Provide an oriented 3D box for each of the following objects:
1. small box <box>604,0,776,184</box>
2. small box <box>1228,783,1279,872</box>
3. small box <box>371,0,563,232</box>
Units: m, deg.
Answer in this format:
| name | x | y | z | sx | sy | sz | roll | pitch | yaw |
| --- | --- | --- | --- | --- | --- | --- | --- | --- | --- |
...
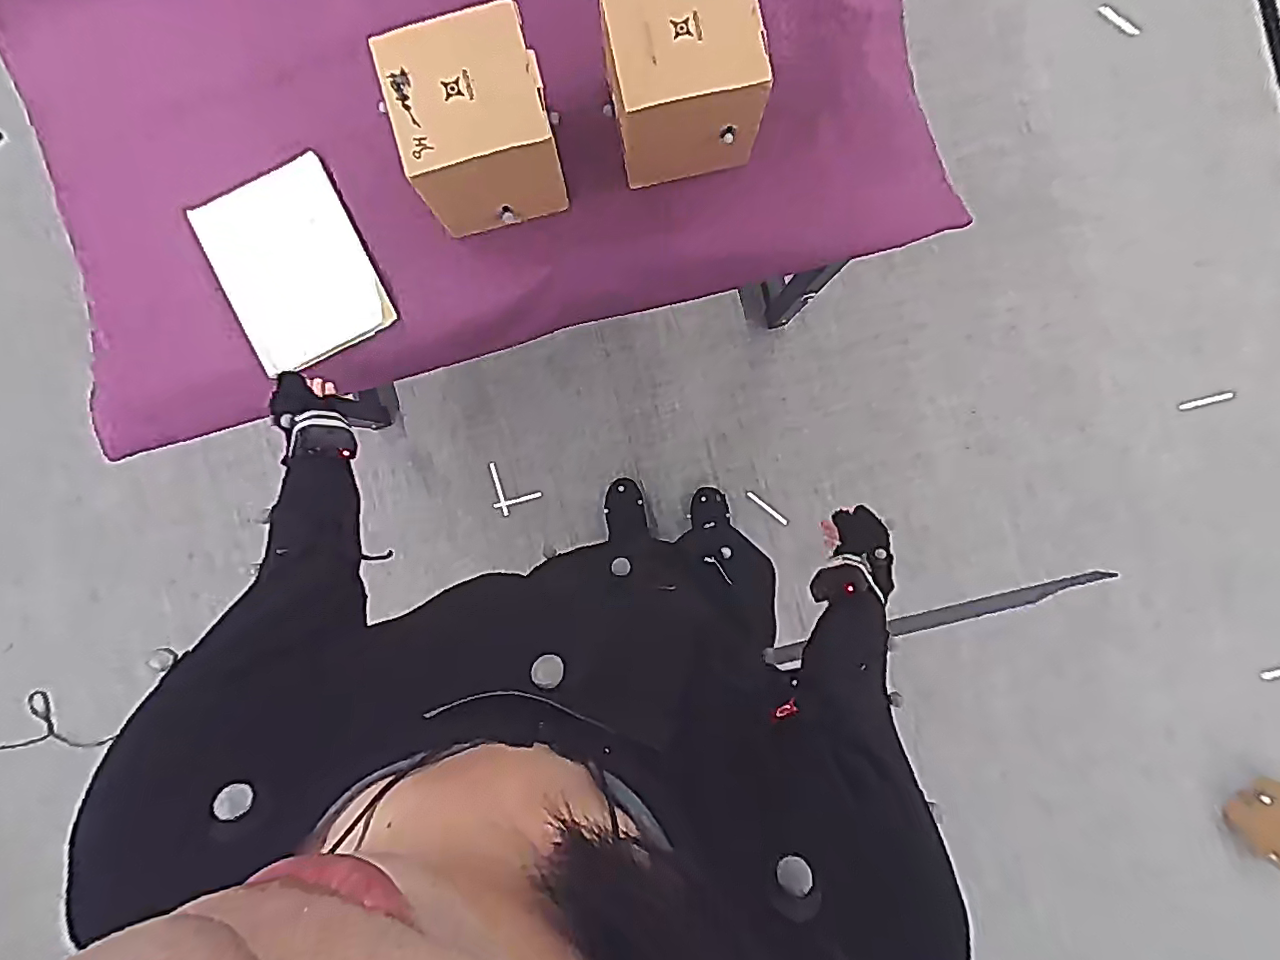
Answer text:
| name | x | y | z | sx | sy | sz | roll | pitch | yaw |
| --- | --- | --- | --- | --- | --- | --- | --- | --- | --- |
| small box | 0.055 | -0.515 | 0.690 | 0.179 | 0.176 | 0.168 | -12 | 89 | 2 |
| small box | 1.769 | 0.964 | 1.446 | 0.168 | 0.176 | 0.179 | -37 | 90 | 0 |
| small box | -0.202 | -0.447 | 0.689 | 0.179 | 0.176 | 0.168 | -15 | 90 | -1 |
